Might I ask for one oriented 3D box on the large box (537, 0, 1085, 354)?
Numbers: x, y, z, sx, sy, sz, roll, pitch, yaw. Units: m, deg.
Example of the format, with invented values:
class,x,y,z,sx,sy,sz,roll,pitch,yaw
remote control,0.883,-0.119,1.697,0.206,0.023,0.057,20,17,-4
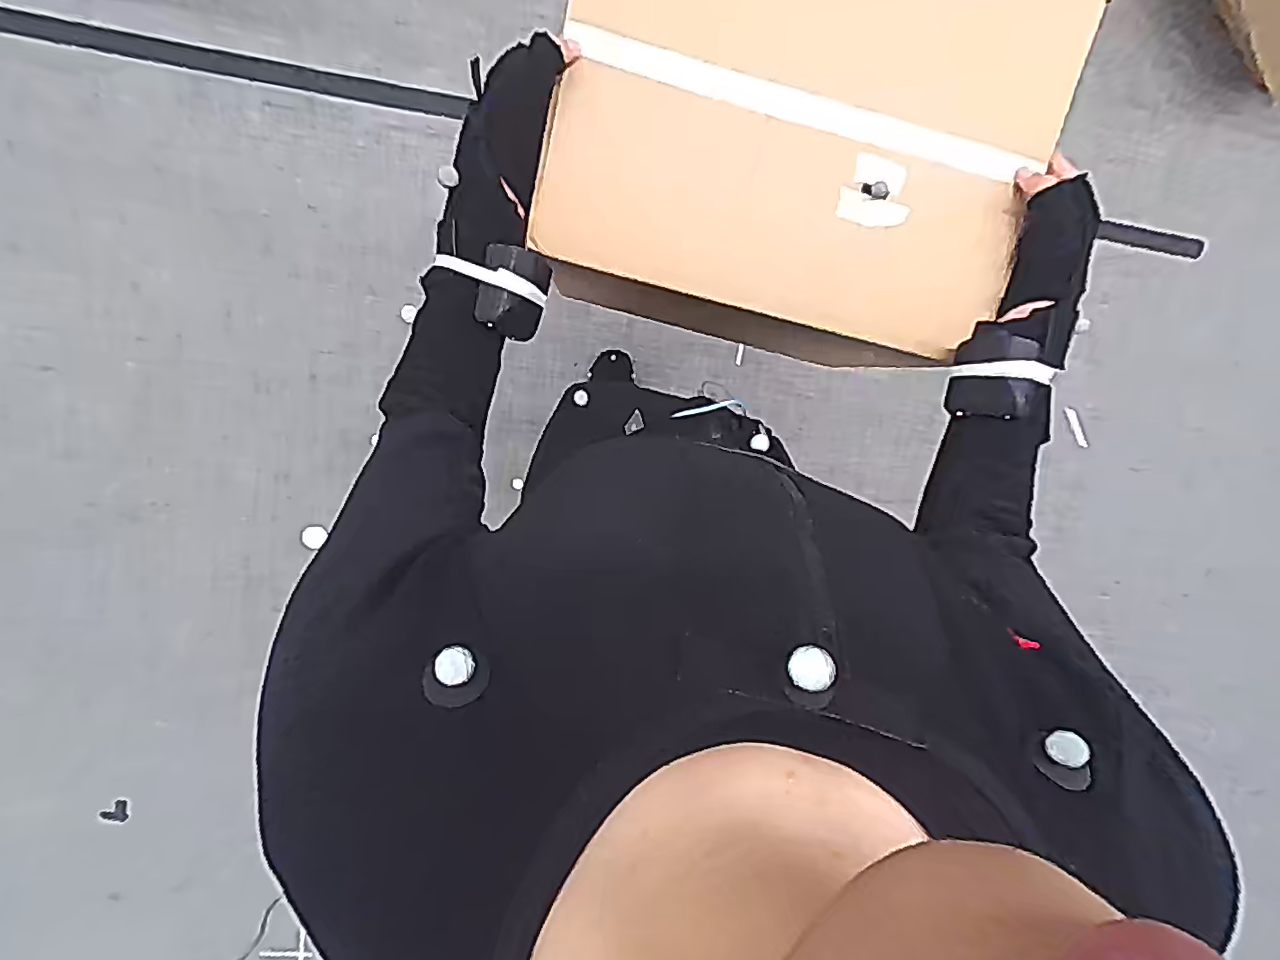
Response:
class,x,y,z,sx,sy,sz,roll,pitch,yaw
large box,0.126,-0.333,0.585,0.408,0.320,0.320,12,103,-7
